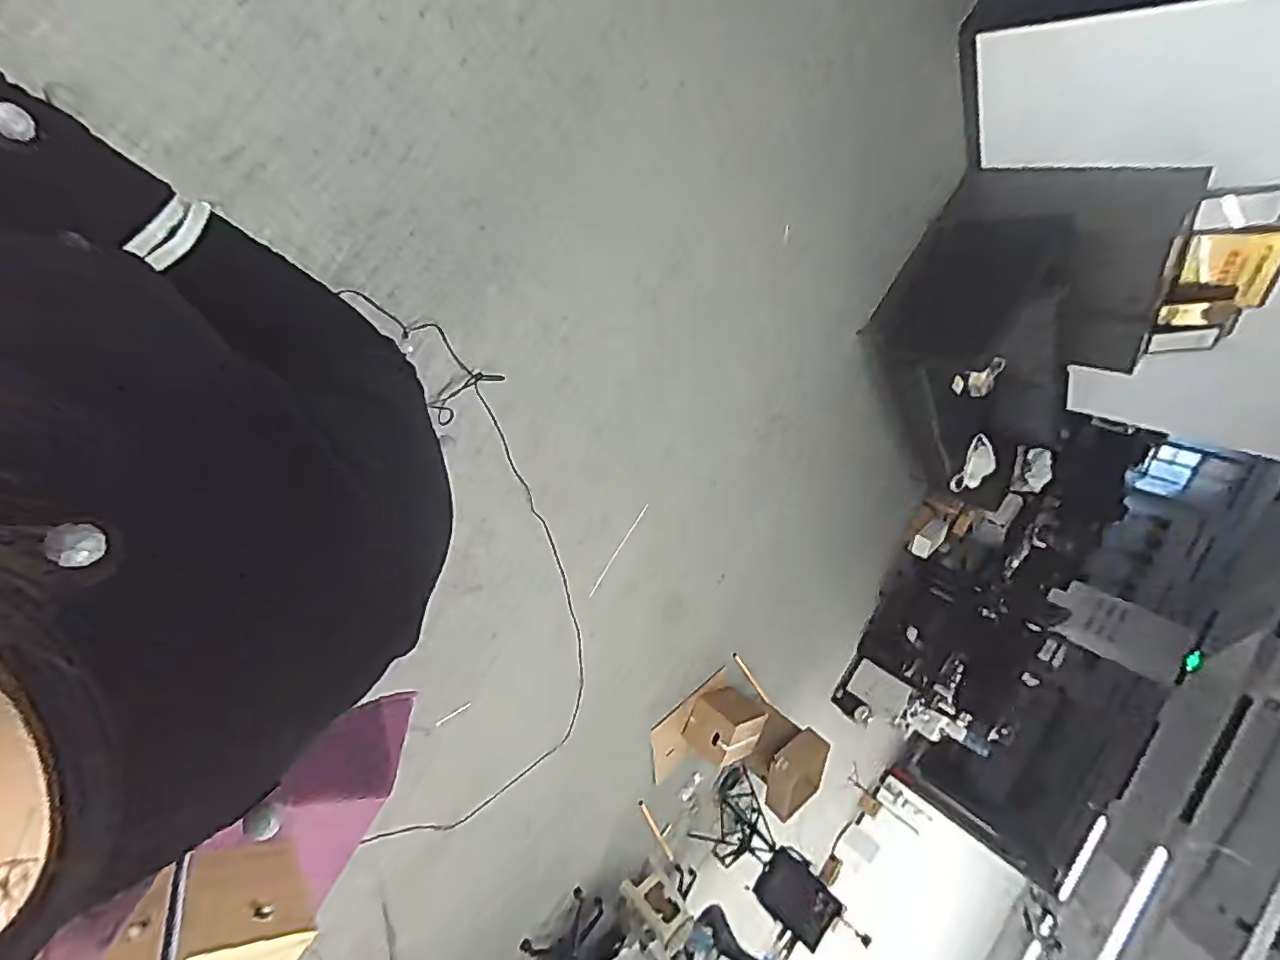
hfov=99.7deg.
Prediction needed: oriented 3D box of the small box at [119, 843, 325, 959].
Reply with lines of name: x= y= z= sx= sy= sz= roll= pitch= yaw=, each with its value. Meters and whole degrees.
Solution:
small box: x=-0.613 y=0.672 z=0.794 sx=0.168 sy=0.176 sz=0.179 roll=-57 pitch=139 yaw=-5
